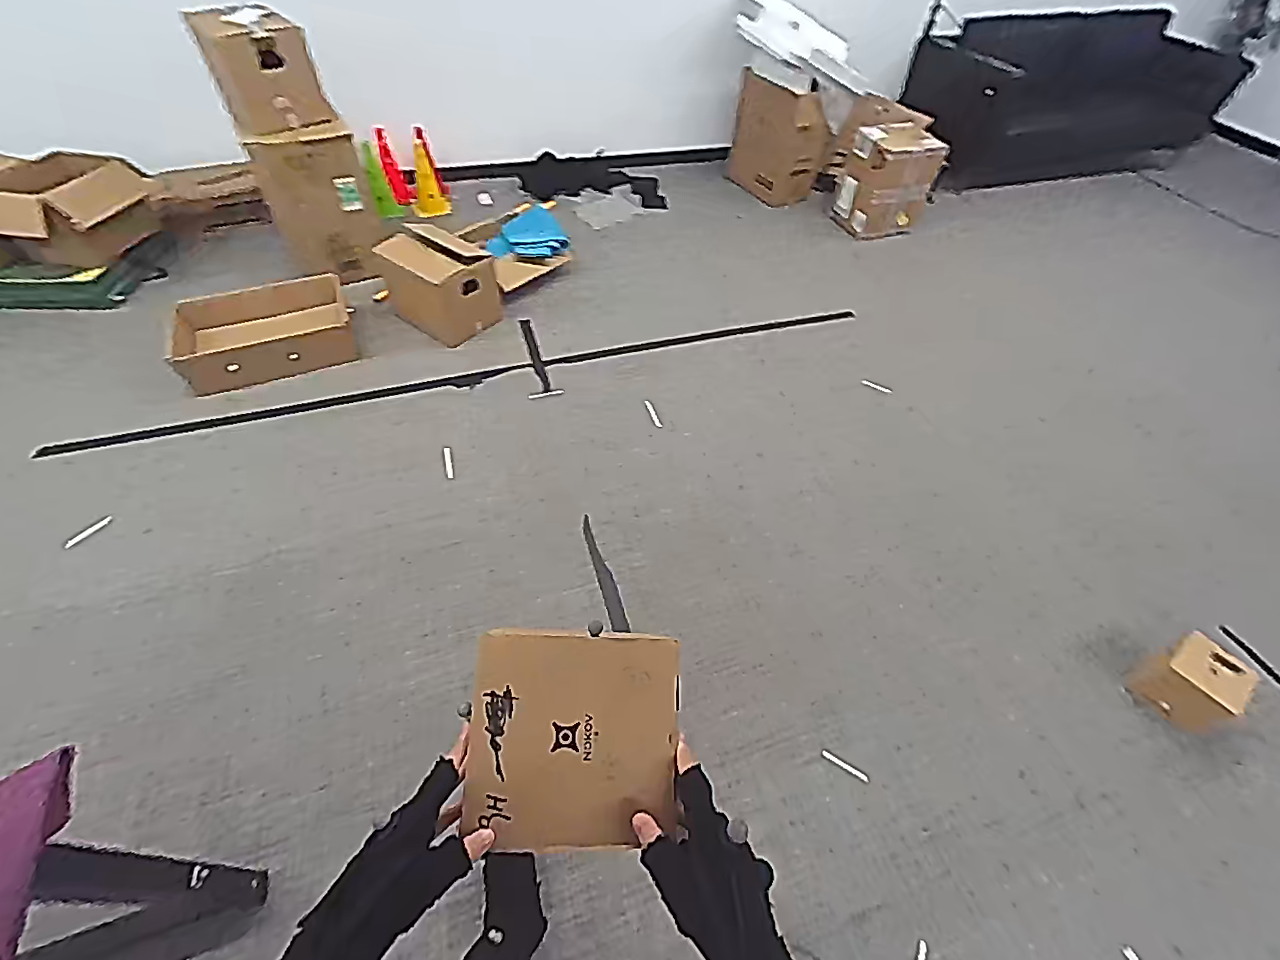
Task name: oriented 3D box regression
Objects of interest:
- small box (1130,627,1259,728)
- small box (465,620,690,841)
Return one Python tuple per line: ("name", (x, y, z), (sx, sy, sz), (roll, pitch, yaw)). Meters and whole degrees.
("small box", (1.526, 0.549, 1.500), (0.179, 0.176, 0.168), (-30, 58, -25))
("small box", (-0.057, 0.224, 0.523), (0.179, 0.176, 0.168), (5, 75, -7))
